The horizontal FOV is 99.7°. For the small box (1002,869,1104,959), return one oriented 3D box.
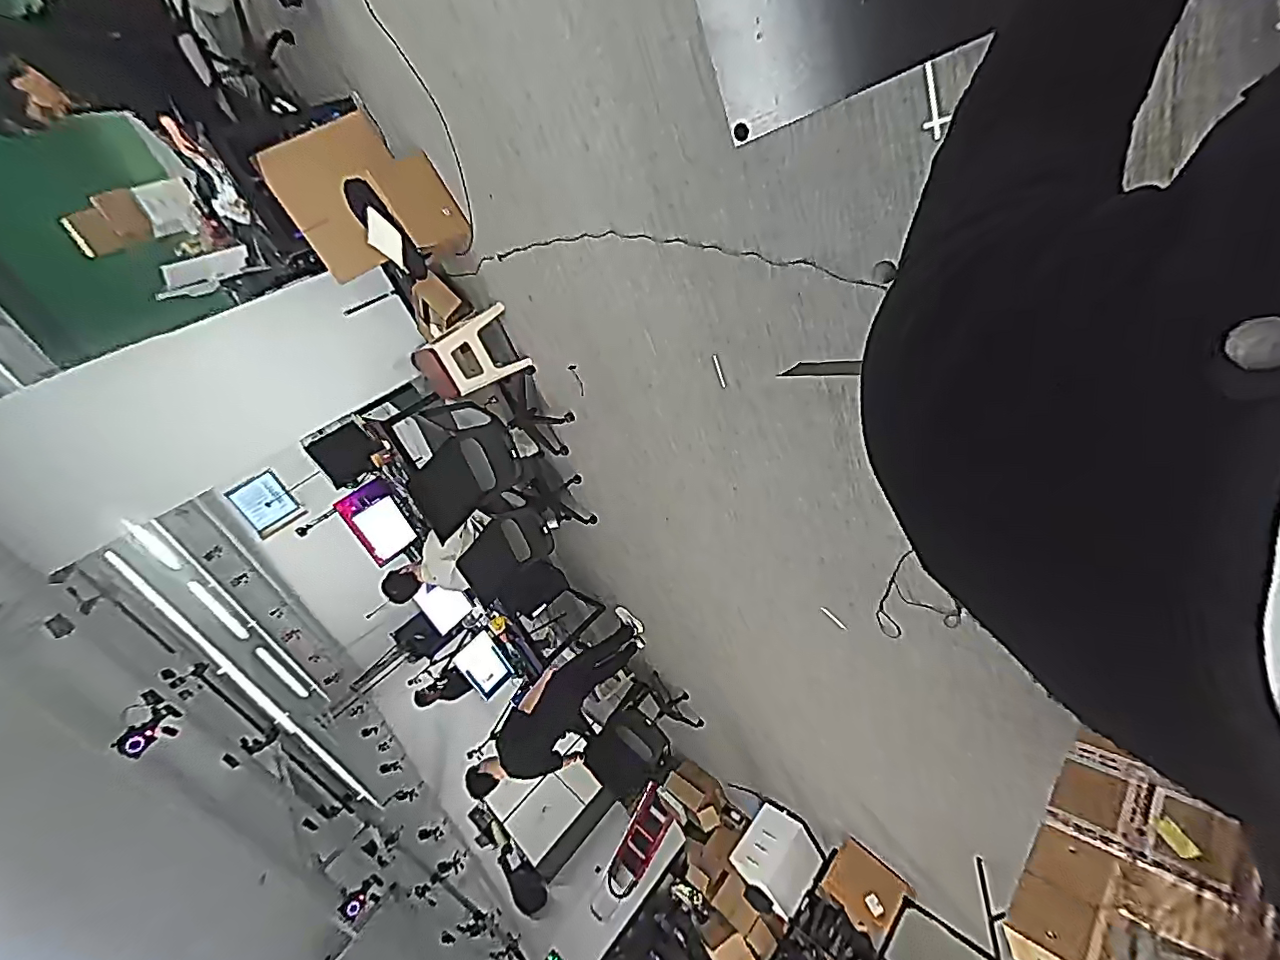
[{"bbox_3d":[1.115,1.207,1.452,0.179,0.176,0.168,2,122,54],"label":"small box"}]

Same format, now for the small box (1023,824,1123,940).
[{"bbox_3d":[1.232,1.126,1.537,0.179,0.176,0.168,2,122,55],"label":"small box"}]
